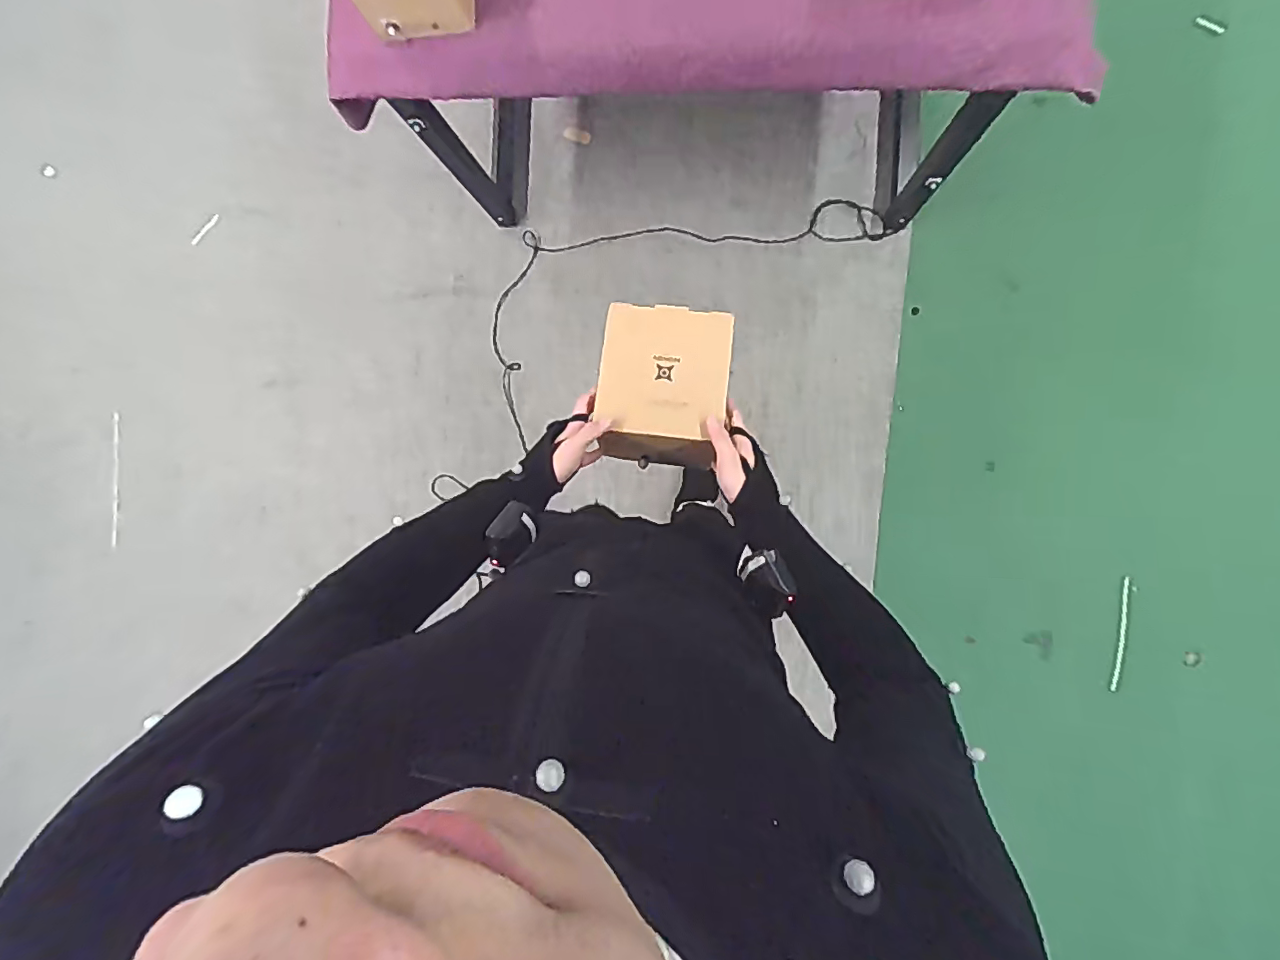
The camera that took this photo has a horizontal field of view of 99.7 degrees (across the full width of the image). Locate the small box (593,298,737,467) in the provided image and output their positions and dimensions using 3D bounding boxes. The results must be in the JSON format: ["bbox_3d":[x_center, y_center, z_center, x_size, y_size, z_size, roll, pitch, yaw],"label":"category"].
[{"bbox_3d":[0.034,-0.127,0.758,0.168,0.176,0.179,7,80,3],"label":"small box"}]

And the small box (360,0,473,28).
[{"bbox_3d":[-0.362,-0.828,0.816,0.168,0.176,0.179,0,91,6],"label":"small box"}]
